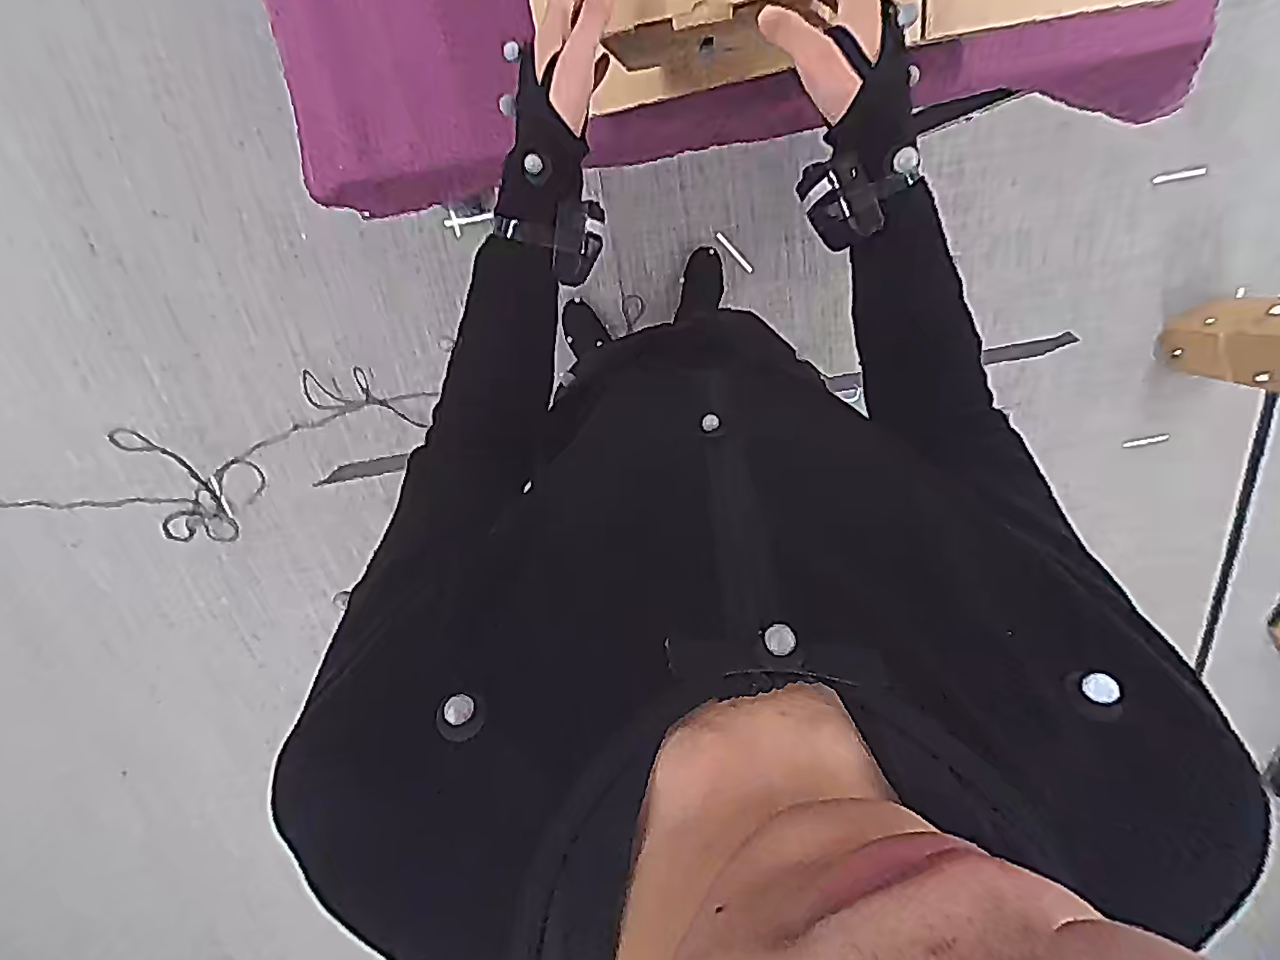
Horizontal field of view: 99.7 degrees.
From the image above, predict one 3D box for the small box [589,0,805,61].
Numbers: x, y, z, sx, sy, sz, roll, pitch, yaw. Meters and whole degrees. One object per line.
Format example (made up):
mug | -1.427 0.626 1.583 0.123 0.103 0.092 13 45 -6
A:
small box | 0.045 -0.458 0.431 0.168 0.176 0.179 -3 119 10
